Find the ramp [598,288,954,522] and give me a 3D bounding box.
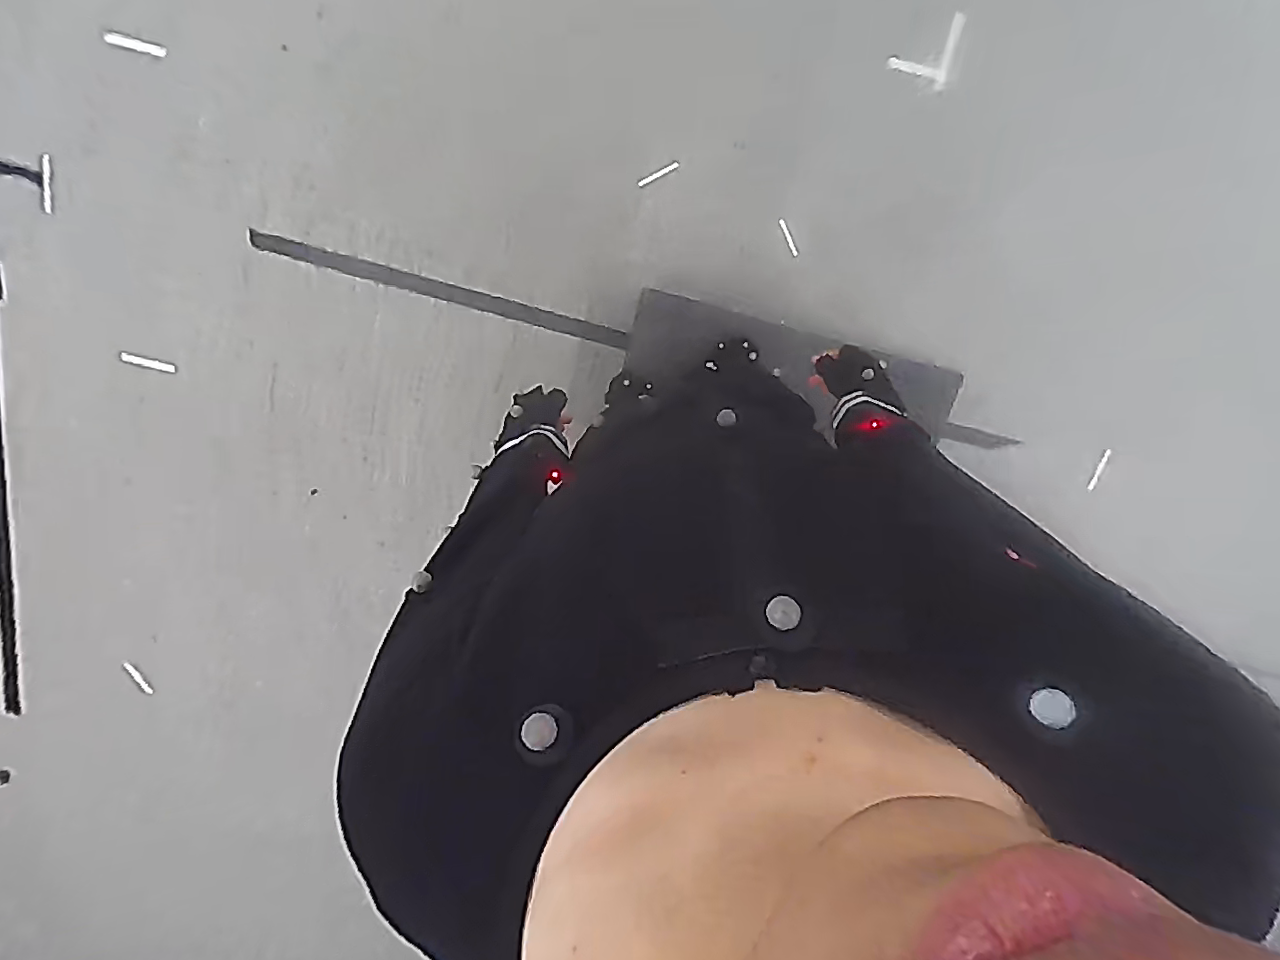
[{"bbox_3d":[0.409,-0.178,1.543,0.991,0.206,0.509,11,103,-4],"label":"ramp"}]
